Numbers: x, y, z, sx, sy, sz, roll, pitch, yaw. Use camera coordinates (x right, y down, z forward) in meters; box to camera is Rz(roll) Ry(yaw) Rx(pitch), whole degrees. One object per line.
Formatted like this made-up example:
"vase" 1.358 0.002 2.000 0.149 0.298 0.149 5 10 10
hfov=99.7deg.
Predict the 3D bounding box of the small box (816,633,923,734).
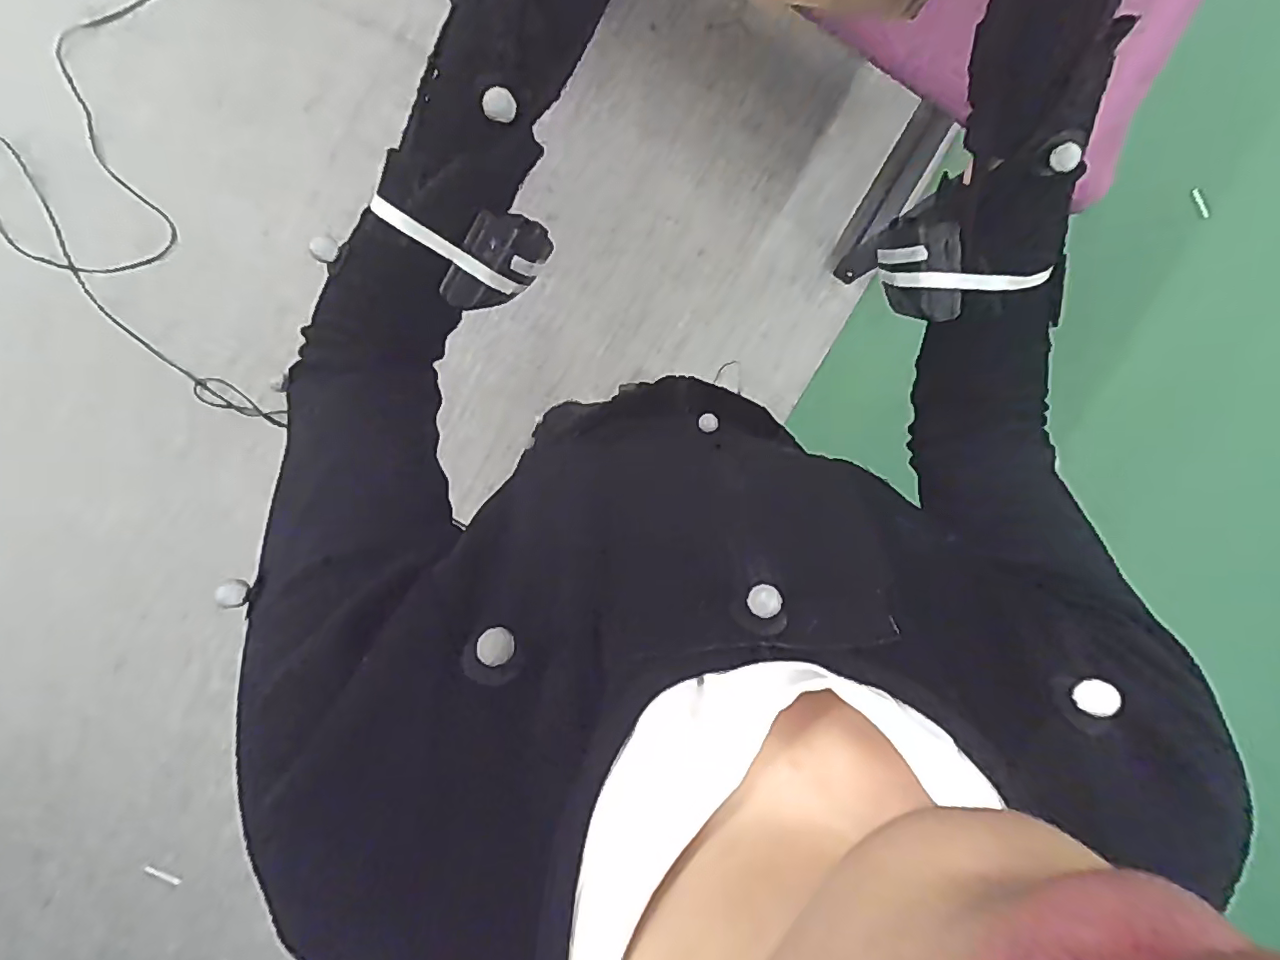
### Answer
"small box" 0.618 0.546 1.483 0.179 0.176 0.168 32 95 -7
